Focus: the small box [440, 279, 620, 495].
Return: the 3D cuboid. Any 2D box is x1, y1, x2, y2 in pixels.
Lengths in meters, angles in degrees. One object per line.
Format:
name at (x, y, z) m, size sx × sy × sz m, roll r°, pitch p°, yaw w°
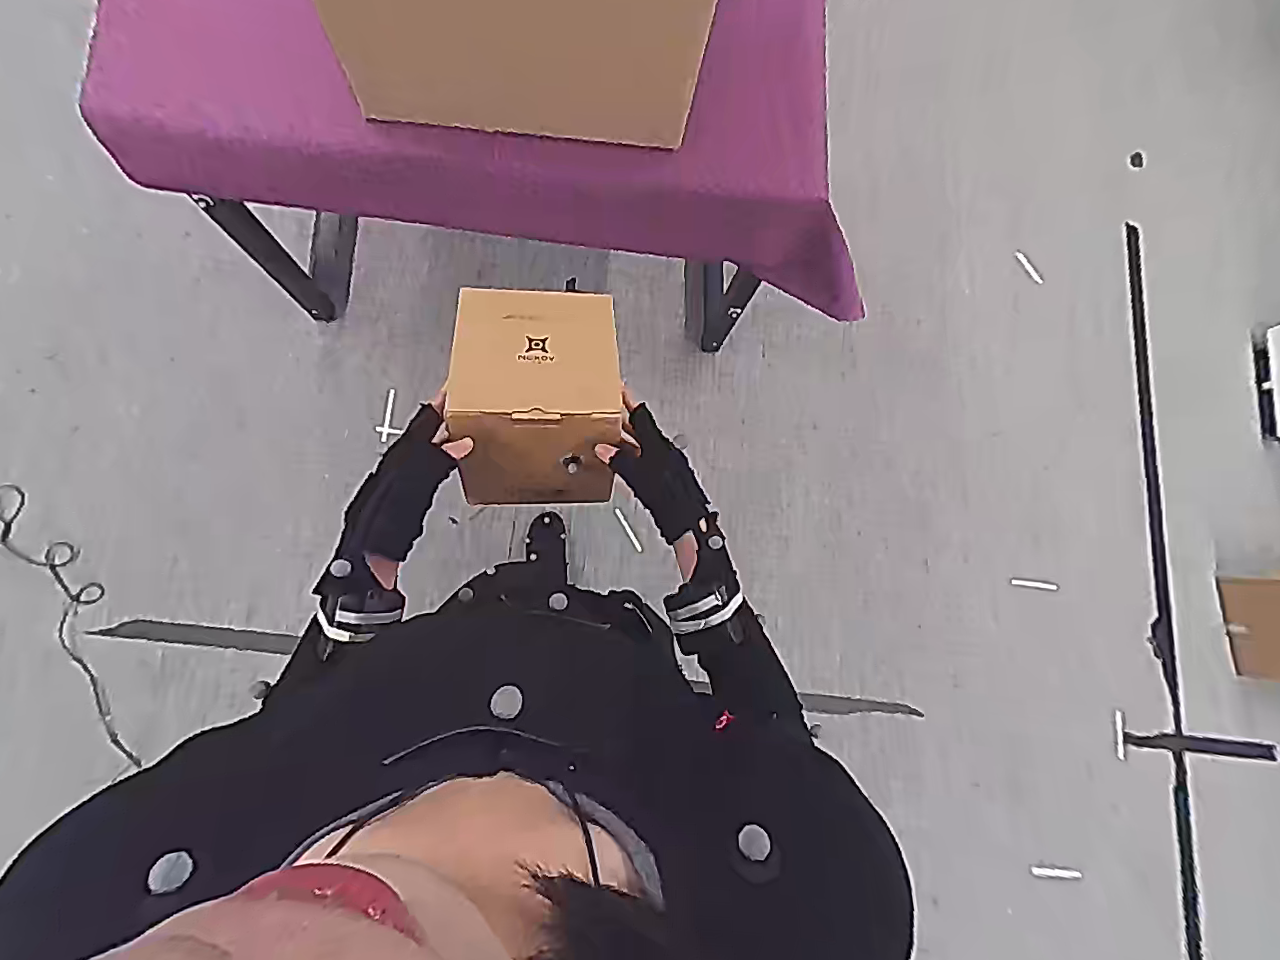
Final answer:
small box at (-0.115, -0.094, 0.600) m, size 0.168 × 0.176 × 0.179 m, roll 0°, pitch 56°, yaw -10°
